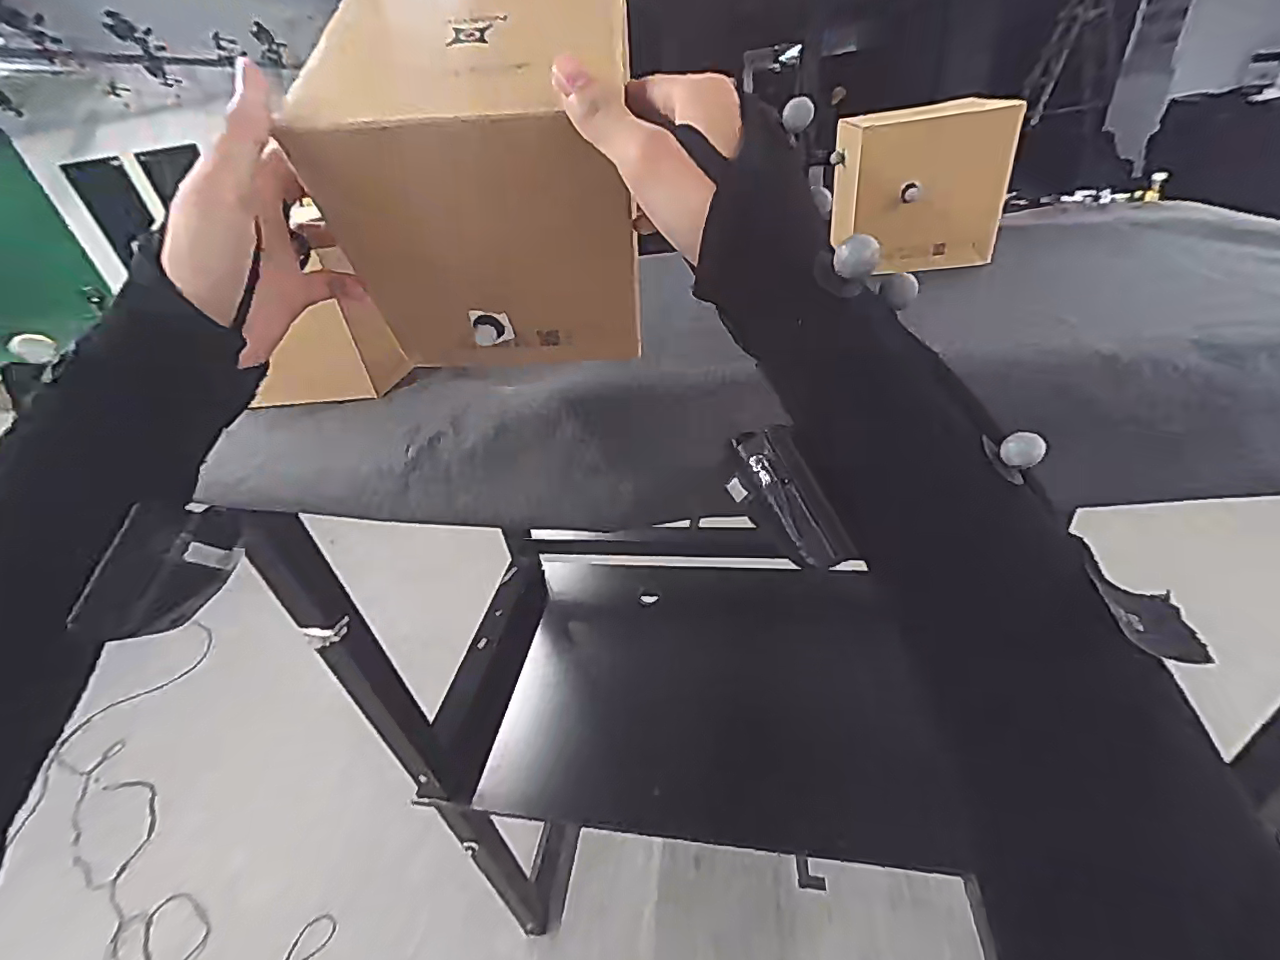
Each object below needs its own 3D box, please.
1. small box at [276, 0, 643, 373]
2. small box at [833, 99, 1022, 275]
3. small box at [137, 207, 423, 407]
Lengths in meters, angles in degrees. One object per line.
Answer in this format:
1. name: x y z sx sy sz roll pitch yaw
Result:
1. small box: -0.086 -0.193 0.359 0.168 0.176 0.179 -3 59 2
2. small box: 0.346 -0.368 0.690 0.168 0.176 0.179 -2 35 11
3. small box: -0.350 -0.186 0.579 0.179 0.176 0.168 -3 34 8
